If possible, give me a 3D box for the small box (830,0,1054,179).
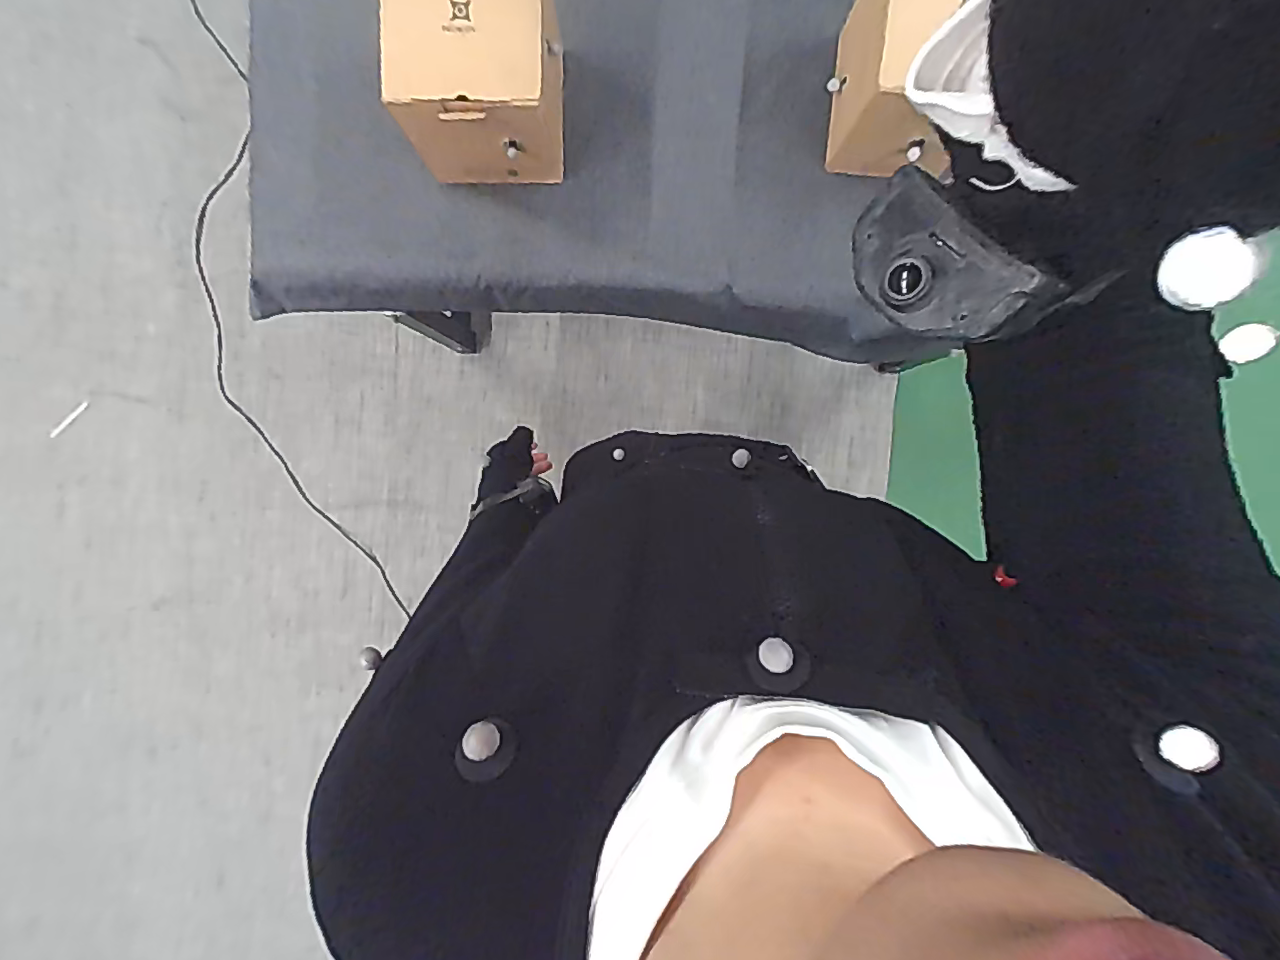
[{"bbox_3d":[0.332,-0.475,0.623,0.168,0.176,0.179,5,94,0],"label":"small box"}]

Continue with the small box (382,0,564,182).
[{"bbox_3d":[-0.180,-0.473,0.629,0.168,0.176,0.179,0,91,-1],"label":"small box"}]
